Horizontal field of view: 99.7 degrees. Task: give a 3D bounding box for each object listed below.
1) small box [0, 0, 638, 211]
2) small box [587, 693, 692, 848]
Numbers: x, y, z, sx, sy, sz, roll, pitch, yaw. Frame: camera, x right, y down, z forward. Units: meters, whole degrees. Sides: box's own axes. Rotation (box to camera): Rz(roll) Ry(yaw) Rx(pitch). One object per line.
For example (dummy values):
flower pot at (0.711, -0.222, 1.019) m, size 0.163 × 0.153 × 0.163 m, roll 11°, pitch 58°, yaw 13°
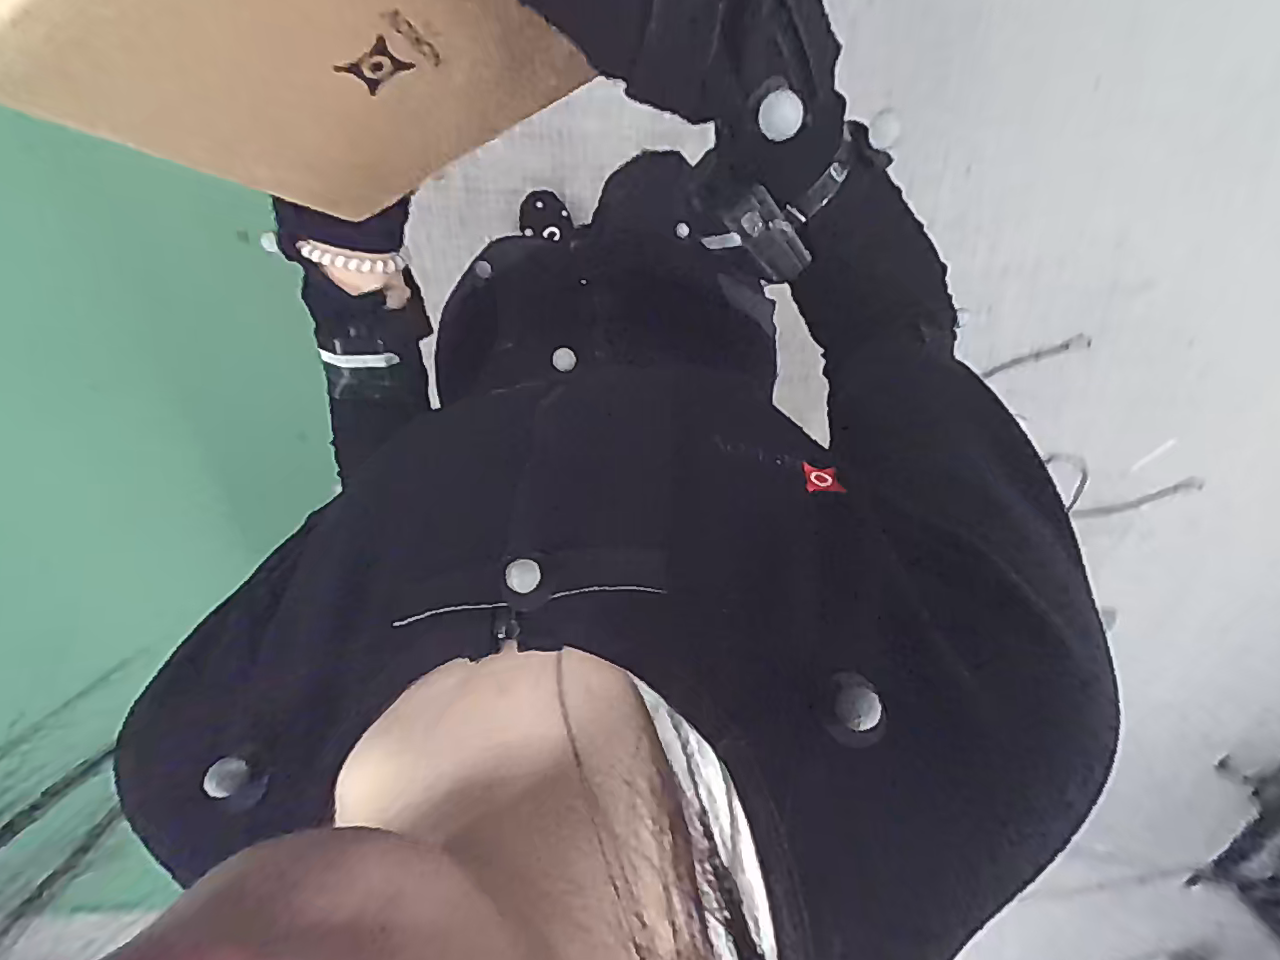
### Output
small box at (-0.120, -0.233, 0.186) m, size 0.179 × 0.168 × 0.176 m, roll -22°, pitch 98°, yaw 12°
small box at (-0.003, 0.499, 0.940) m, size 0.168 × 0.176 × 0.179 m, roll -4°, pitch 119°, yaw -3°
